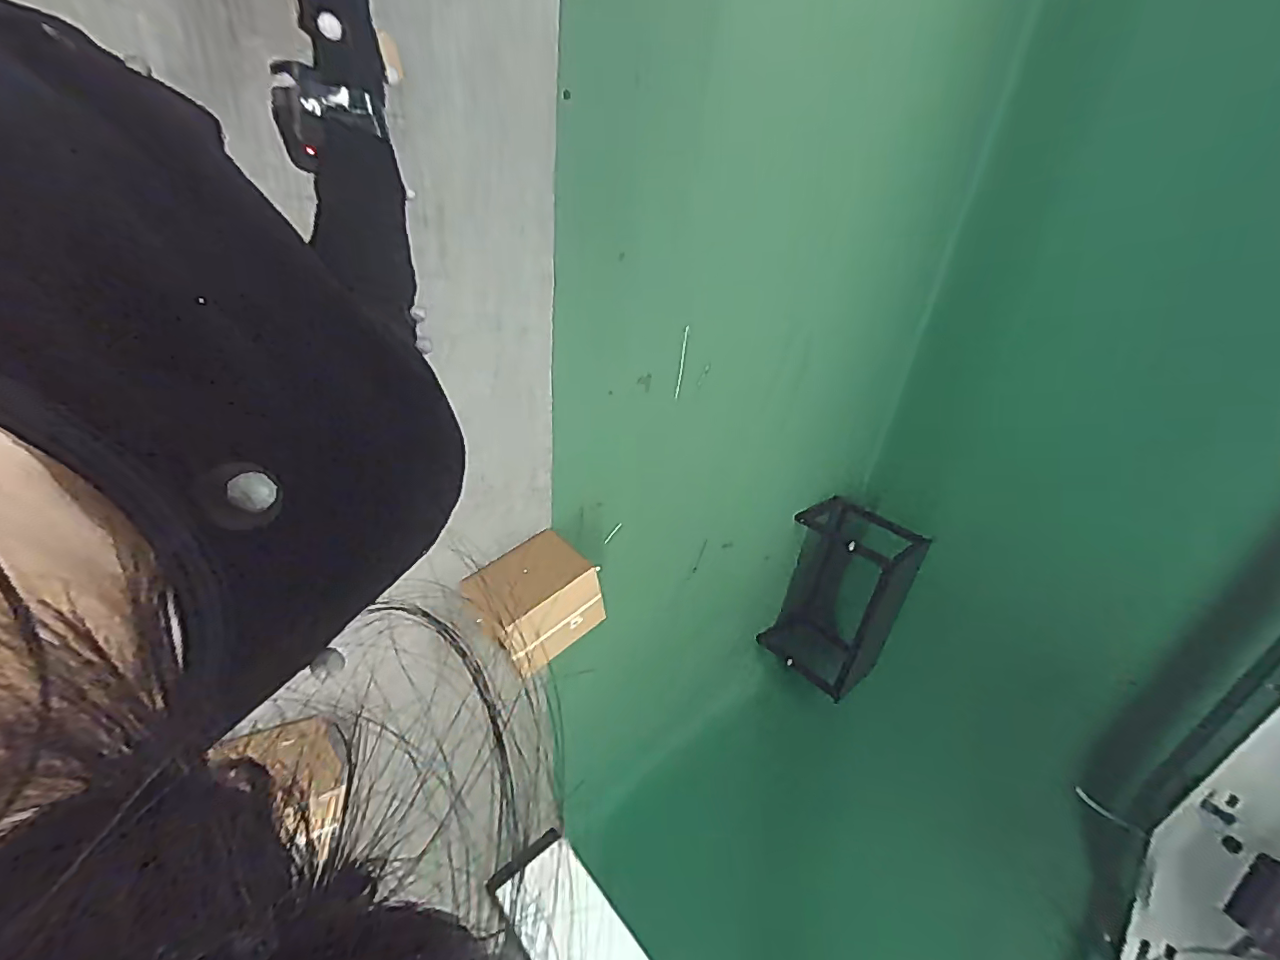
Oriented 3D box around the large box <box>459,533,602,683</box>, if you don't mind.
[{"bbox_3d":[-0.411,0.478,2.077,0.408,0.320,0.320,-33,136,-30],"label":"large box"}]
